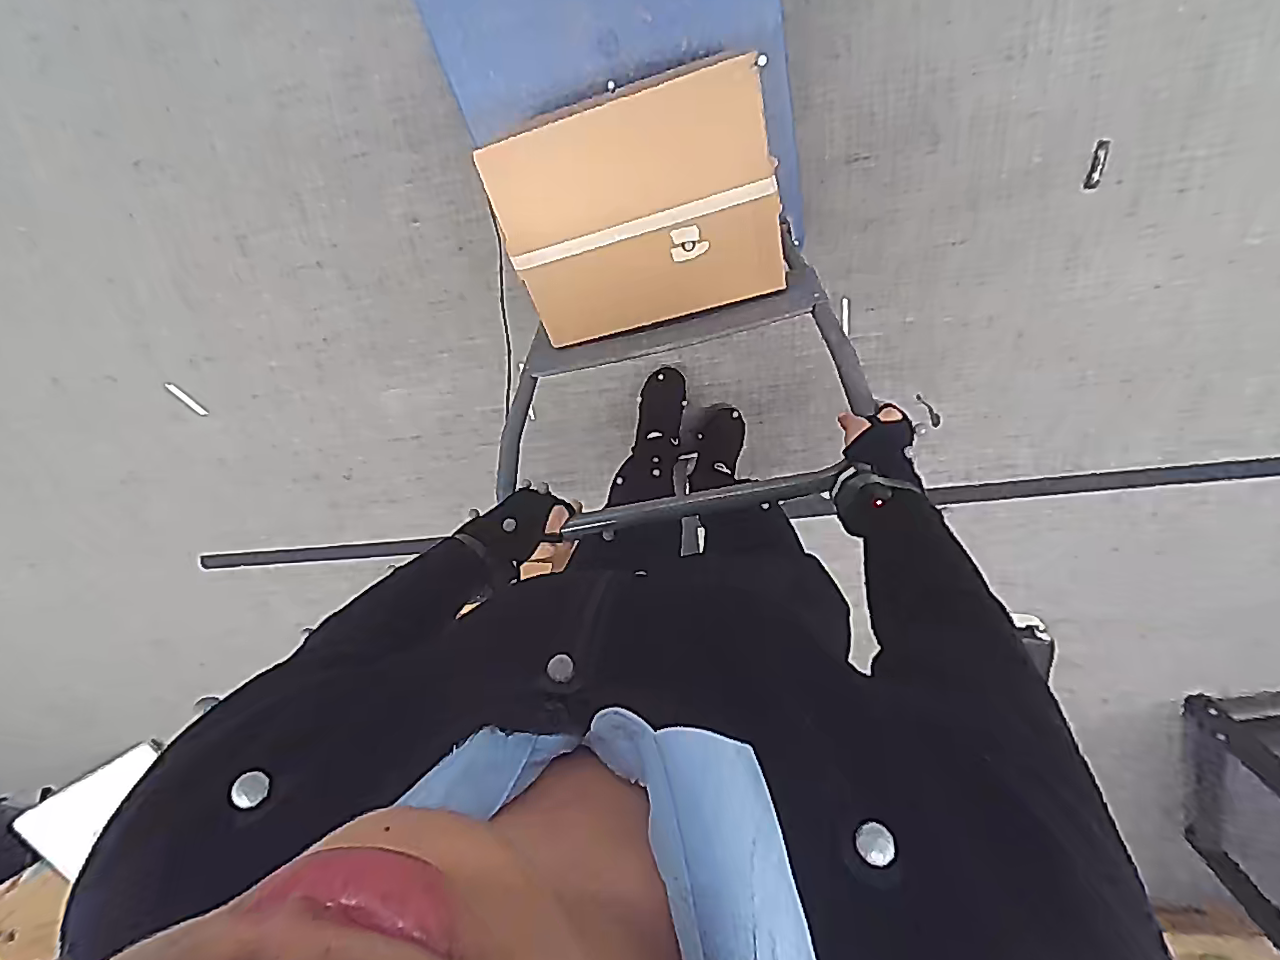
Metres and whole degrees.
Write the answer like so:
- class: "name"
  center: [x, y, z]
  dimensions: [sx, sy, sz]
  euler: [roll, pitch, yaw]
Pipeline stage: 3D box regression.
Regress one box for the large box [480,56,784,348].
- class: "large box"
  center: [0.003, -0.478, 0.938]
  dimensions: [0.408, 0.320, 0.320]
  euler: [-12, 128, 11]
